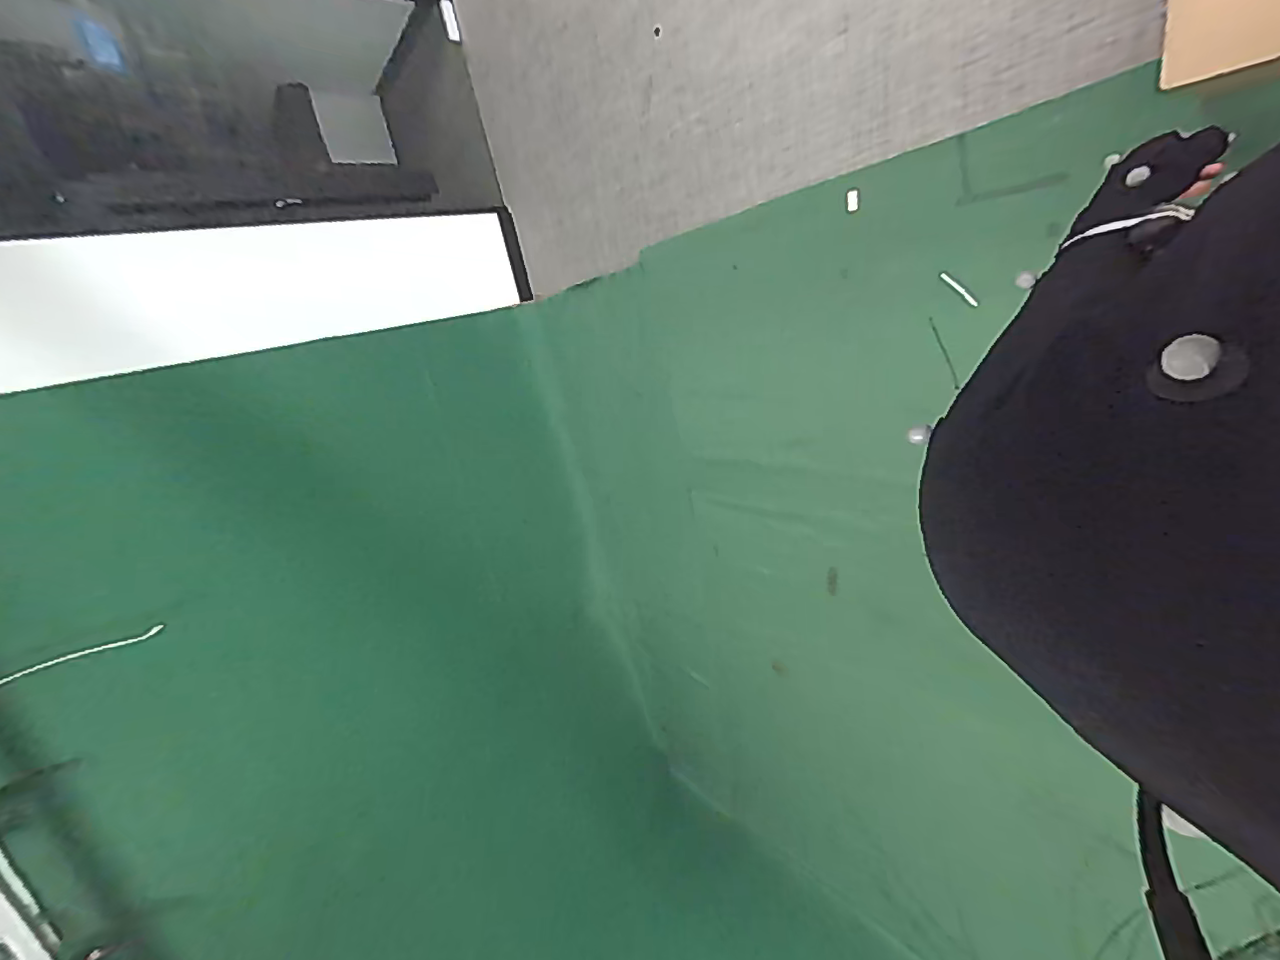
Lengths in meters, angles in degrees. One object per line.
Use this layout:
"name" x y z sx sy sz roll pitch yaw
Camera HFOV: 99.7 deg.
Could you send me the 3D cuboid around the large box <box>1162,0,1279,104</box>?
"large box" 0.972 -0.736 0.683 0.408 0.320 0.320 12 120 49
